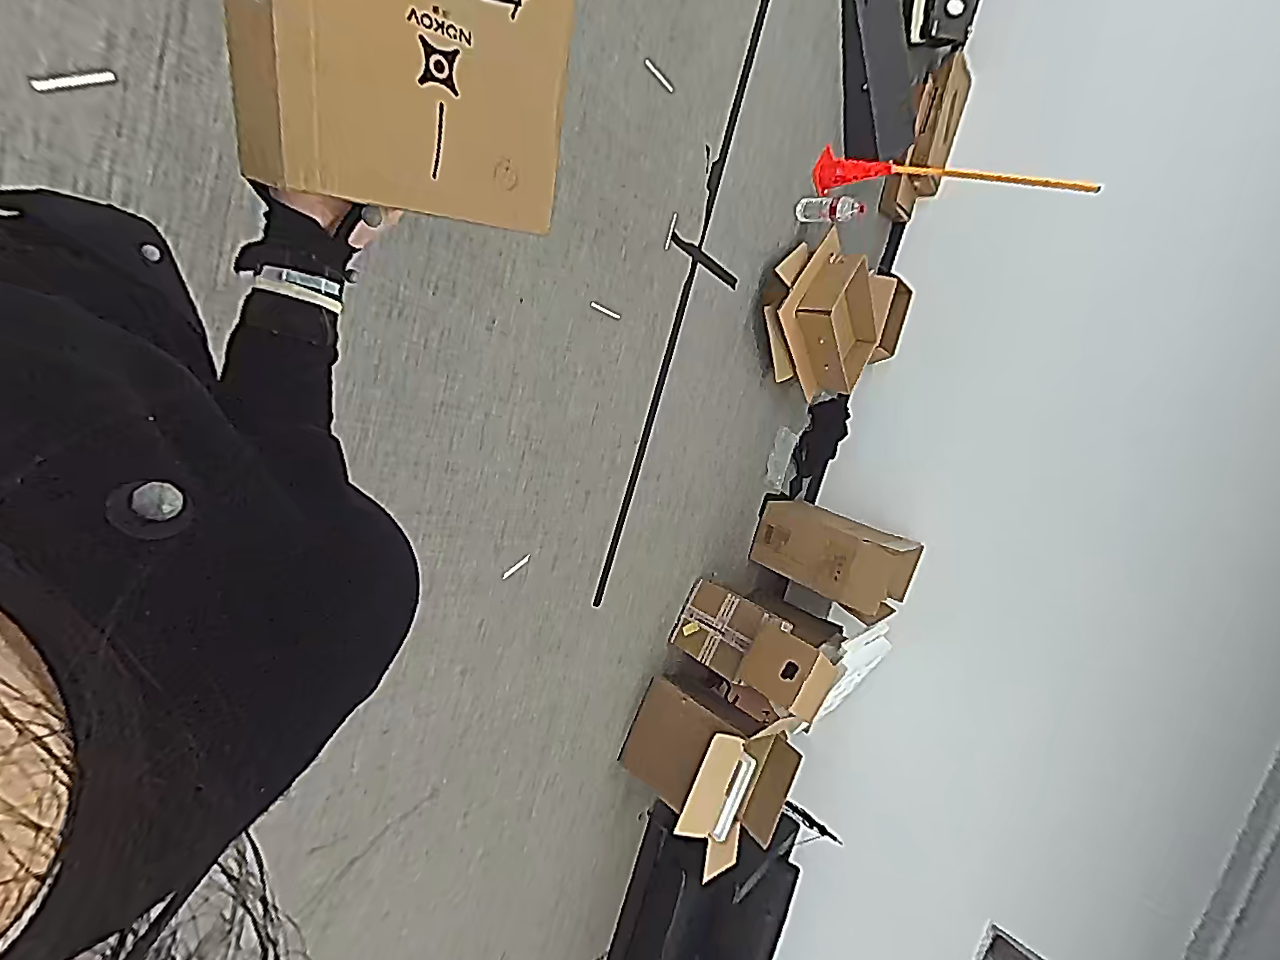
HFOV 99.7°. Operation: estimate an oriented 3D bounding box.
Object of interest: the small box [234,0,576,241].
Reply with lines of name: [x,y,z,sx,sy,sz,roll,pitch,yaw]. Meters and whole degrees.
small box: [-0.165,-0.278,0.370,0.168,0.176,0.179,-10,121,-40]
